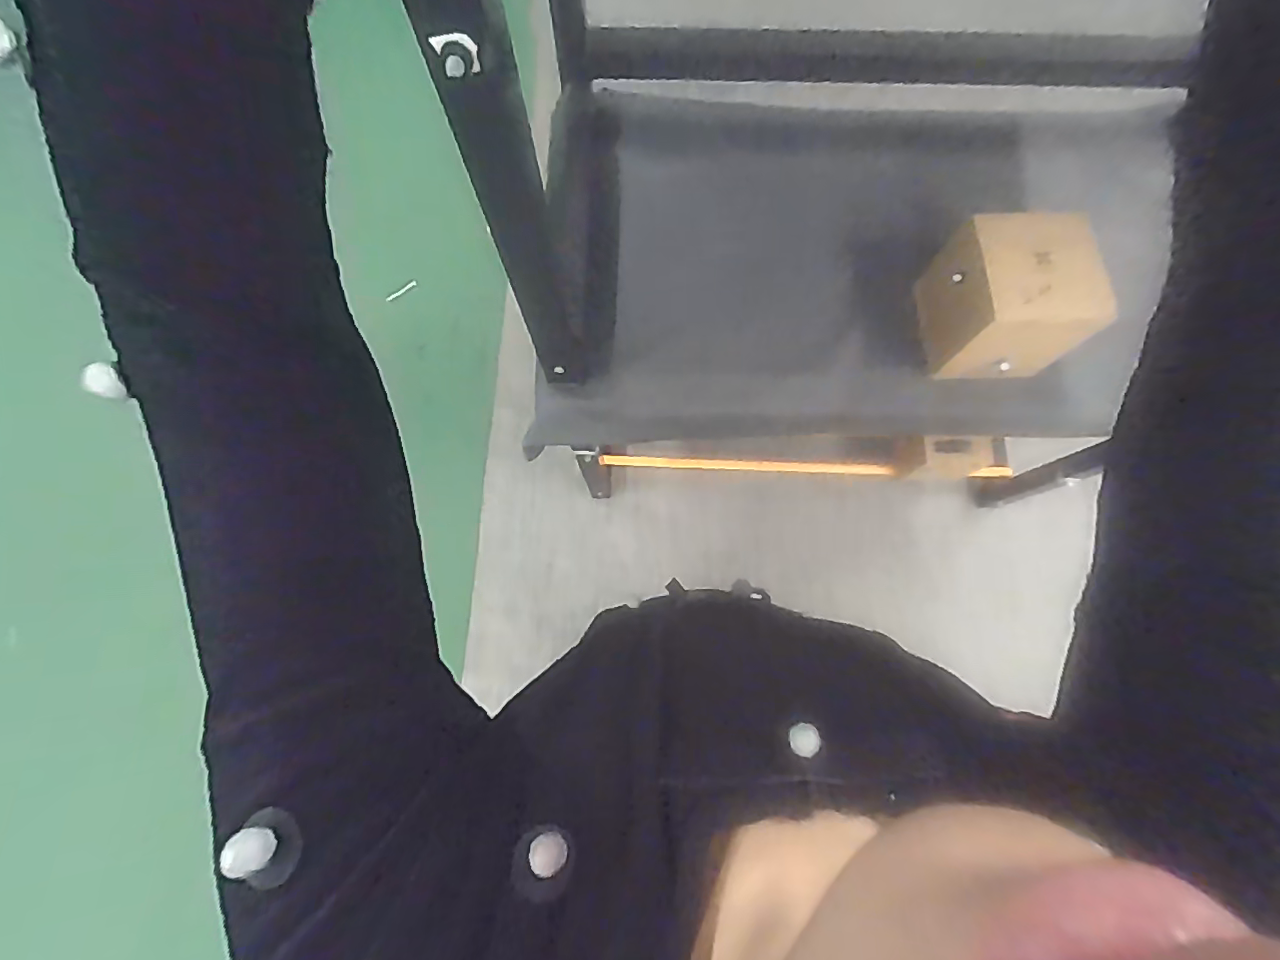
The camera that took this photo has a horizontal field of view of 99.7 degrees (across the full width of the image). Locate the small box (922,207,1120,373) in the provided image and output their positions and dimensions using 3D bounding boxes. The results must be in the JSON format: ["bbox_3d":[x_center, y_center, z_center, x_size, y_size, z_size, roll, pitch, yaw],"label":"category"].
[{"bbox_3d":[0.552,-0.279,0.814,0.168,0.176,0.179,-1,74,1],"label":"small box"}]
